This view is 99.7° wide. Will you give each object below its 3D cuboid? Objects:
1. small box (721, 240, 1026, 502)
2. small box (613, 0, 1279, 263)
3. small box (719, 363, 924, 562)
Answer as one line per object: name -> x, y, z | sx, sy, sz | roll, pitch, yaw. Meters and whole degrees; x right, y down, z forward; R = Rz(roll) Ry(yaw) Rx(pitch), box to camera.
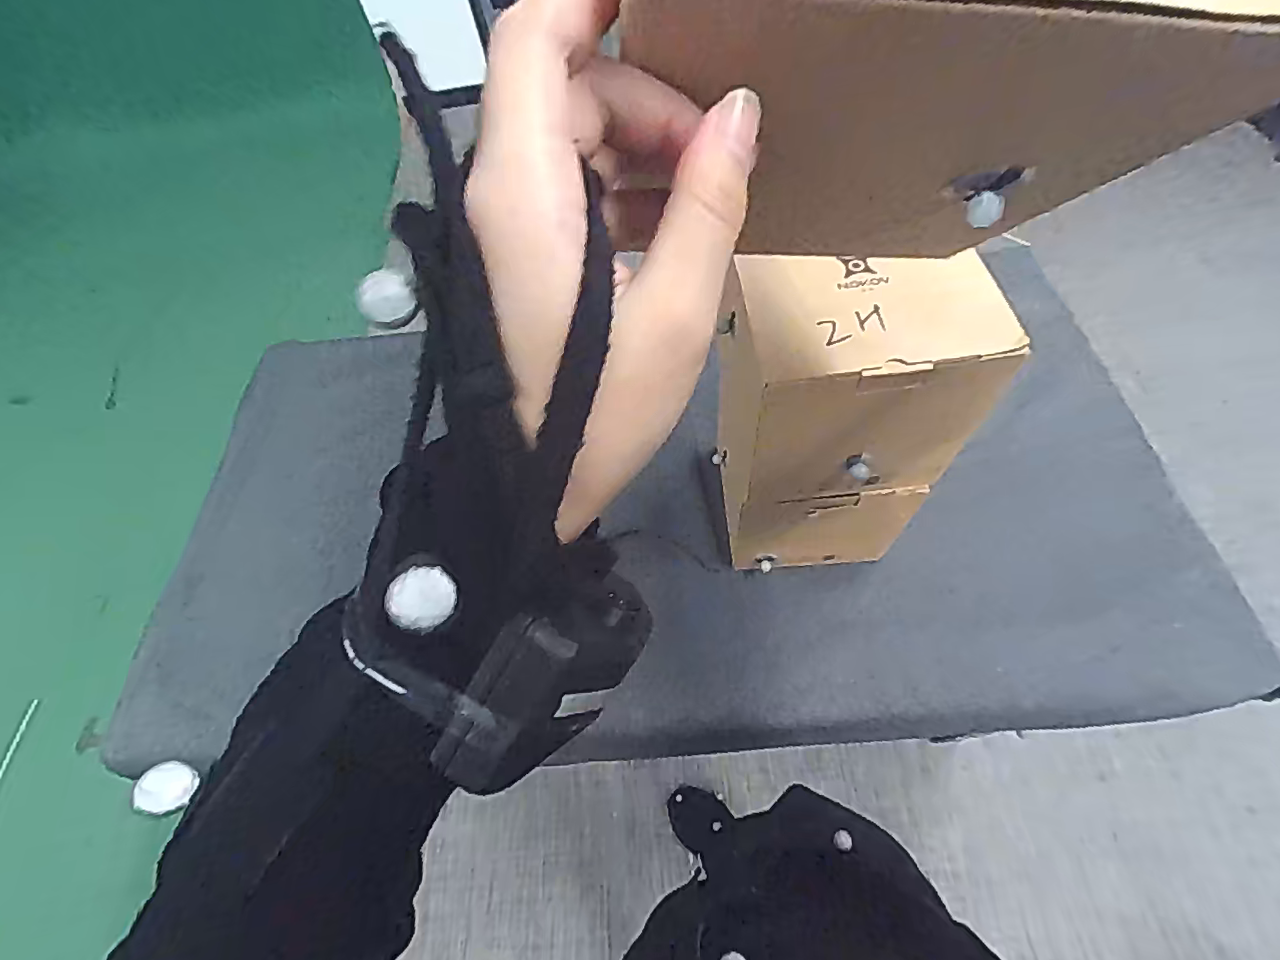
small box -> 0.160, -0.102, 0.447 | 0.168, 0.176, 0.179 | -8, 60, 4
small box -> 0.079, -0.186, 0.188 | 0.179, 0.176, 0.168 | -1, 94, -2
small box -> 0.176, -0.018, 0.588 | 0.168, 0.176, 0.179 | -5, 59, 4
